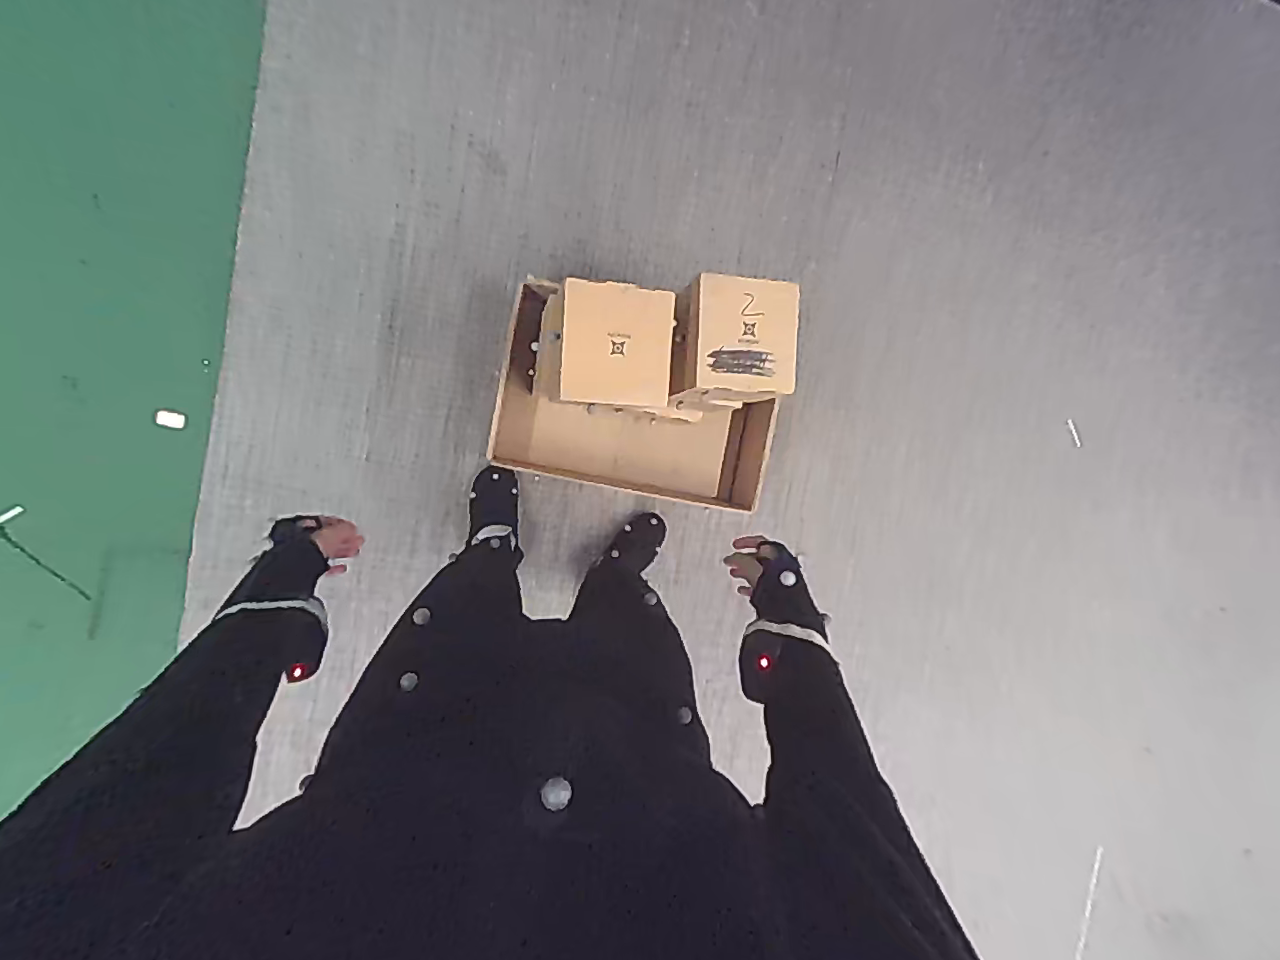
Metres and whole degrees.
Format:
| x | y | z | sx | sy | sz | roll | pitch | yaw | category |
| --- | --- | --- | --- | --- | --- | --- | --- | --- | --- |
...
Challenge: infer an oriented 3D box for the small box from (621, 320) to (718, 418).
| x | y | z | sx | sy | sz | roll | pitch | yaw | category |
| --- | --- | --- | --- | --- | --- | --- | --- | --- | --- |
| 0.058 | -0.242 | 1.223 | 0.168 | 0.176 | 0.179 | 11 | 94 | -11 | small box |

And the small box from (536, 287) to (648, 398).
| x | y | z | sx | sy | sz | roll | pitch | yaw | category |
| --- | --- | --- | --- | --- | --- | --- | --- | --- | --- |
| -0.097 | -0.248 | 1.018 | 0.179 | 0.176 | 0.168 | 6 | 95 | -13 | small box |
